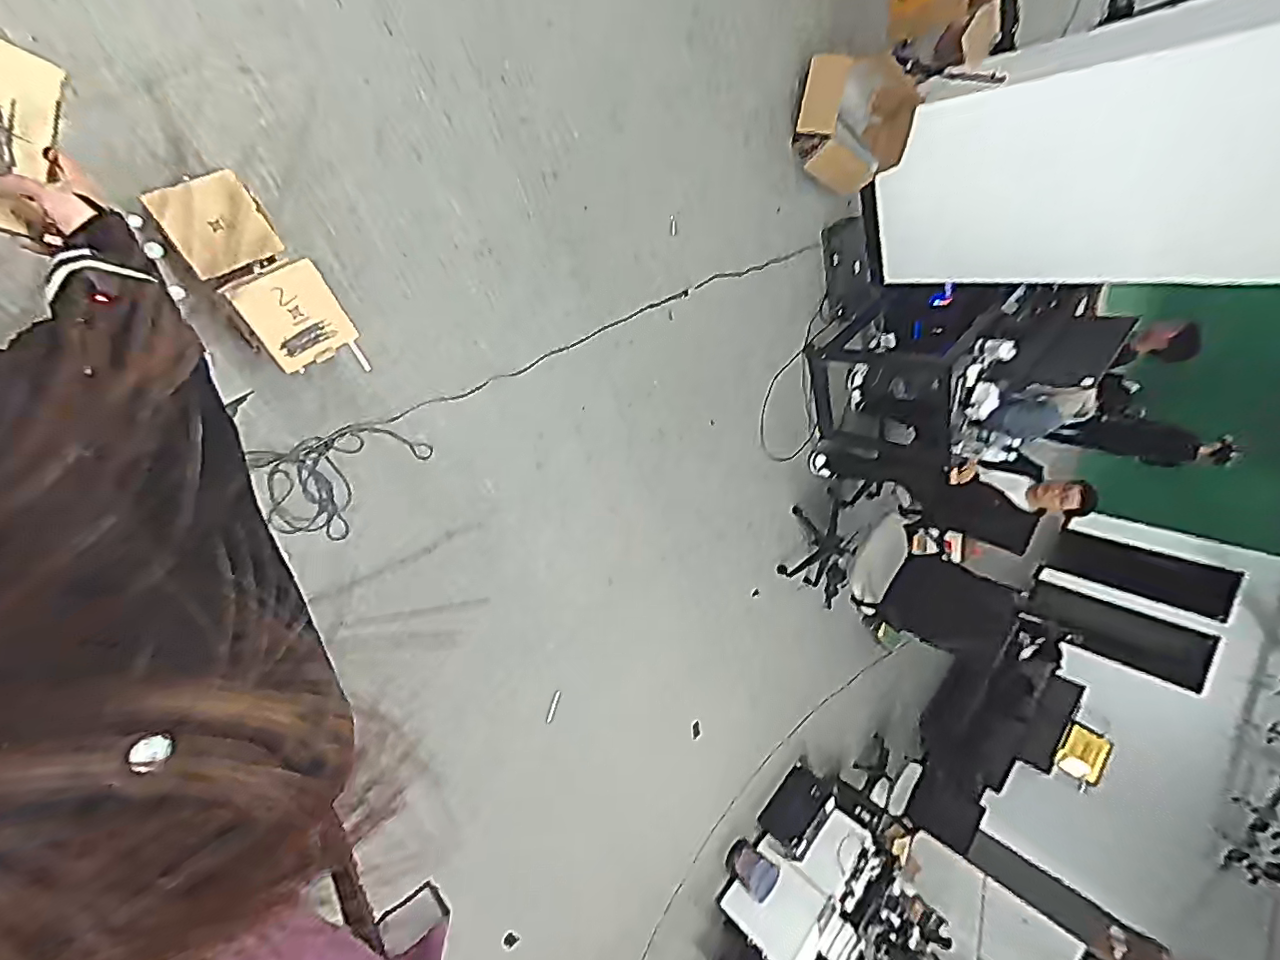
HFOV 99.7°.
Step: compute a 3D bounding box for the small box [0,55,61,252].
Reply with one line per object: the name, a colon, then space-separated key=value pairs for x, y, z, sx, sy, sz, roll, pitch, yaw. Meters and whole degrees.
small box: x=-0.687 y=-0.333 z=0.512 sx=0.179 sy=0.176 sz=0.168 roll=6 pitch=101 yaw=-48
